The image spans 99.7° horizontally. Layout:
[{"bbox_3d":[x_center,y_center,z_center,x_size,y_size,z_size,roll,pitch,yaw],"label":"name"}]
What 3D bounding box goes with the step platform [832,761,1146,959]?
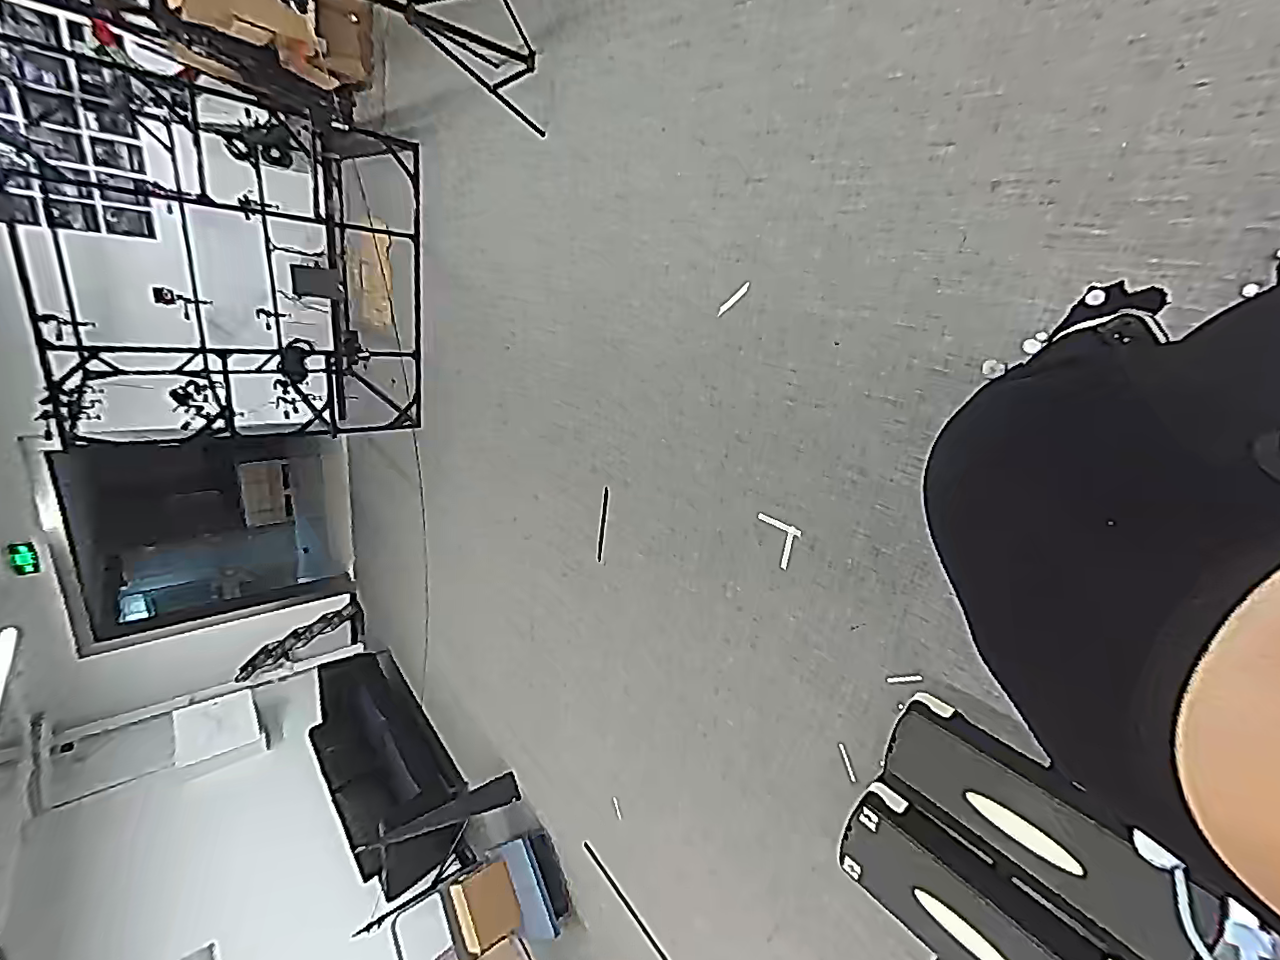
[{"bbox_3d":[0.859,1.100,1.427,0.684,0.204,0.286,28,118,45],"label":"step platform"}]
